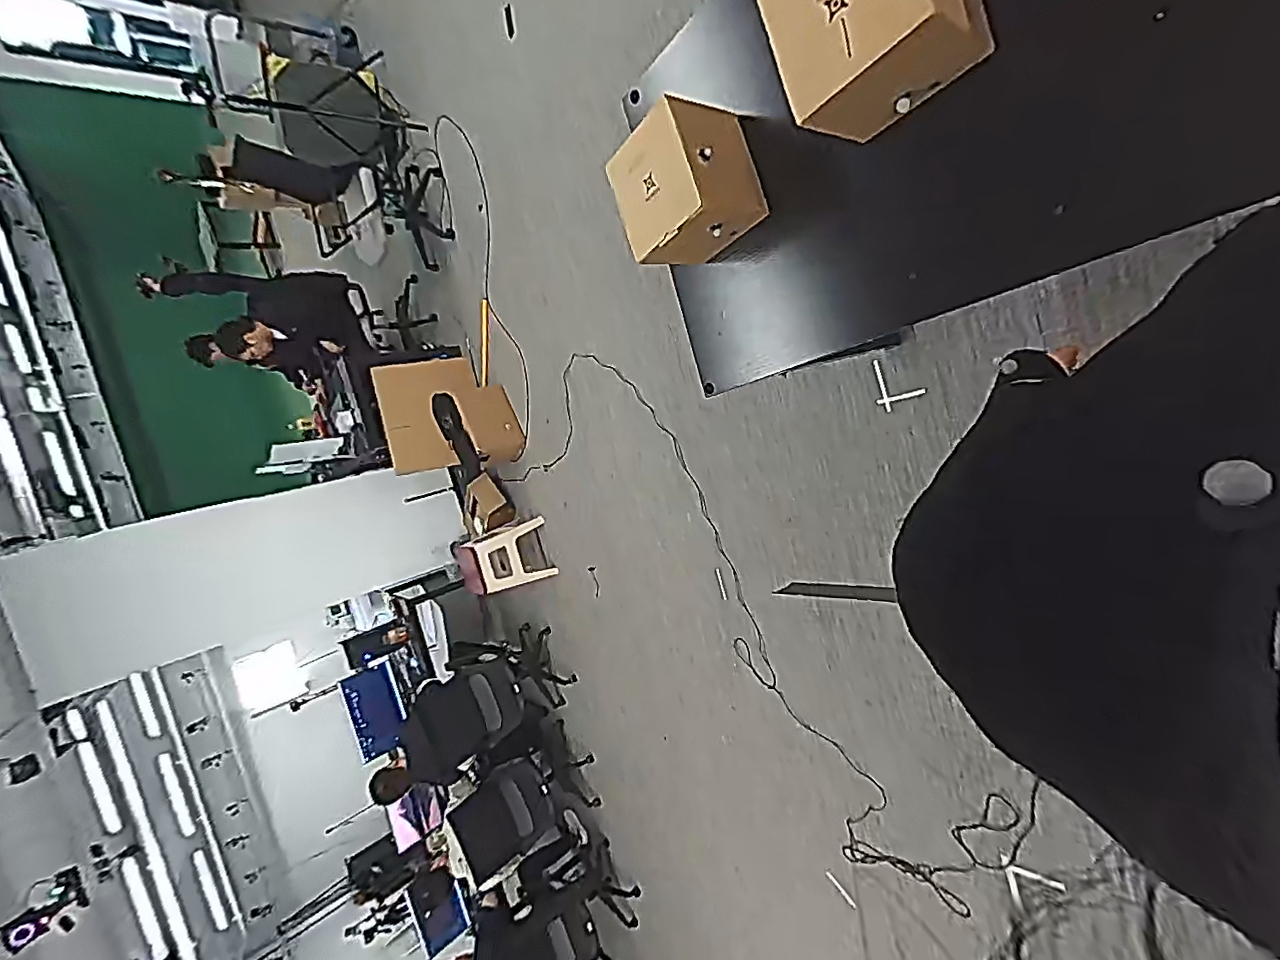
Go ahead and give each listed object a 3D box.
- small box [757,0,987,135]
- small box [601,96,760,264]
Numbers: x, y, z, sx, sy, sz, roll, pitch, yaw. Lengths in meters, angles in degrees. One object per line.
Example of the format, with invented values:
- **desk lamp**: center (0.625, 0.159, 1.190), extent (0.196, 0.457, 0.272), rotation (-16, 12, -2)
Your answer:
- **small box**: center (0.263, -0.534, 0.619), extent (0.168, 0.176, 0.179), rotation (-14, 95, 52)
- **small box**: center (0.070, -0.476, 0.883), extent (0.168, 0.176, 0.179), rotation (-19, 89, 51)
